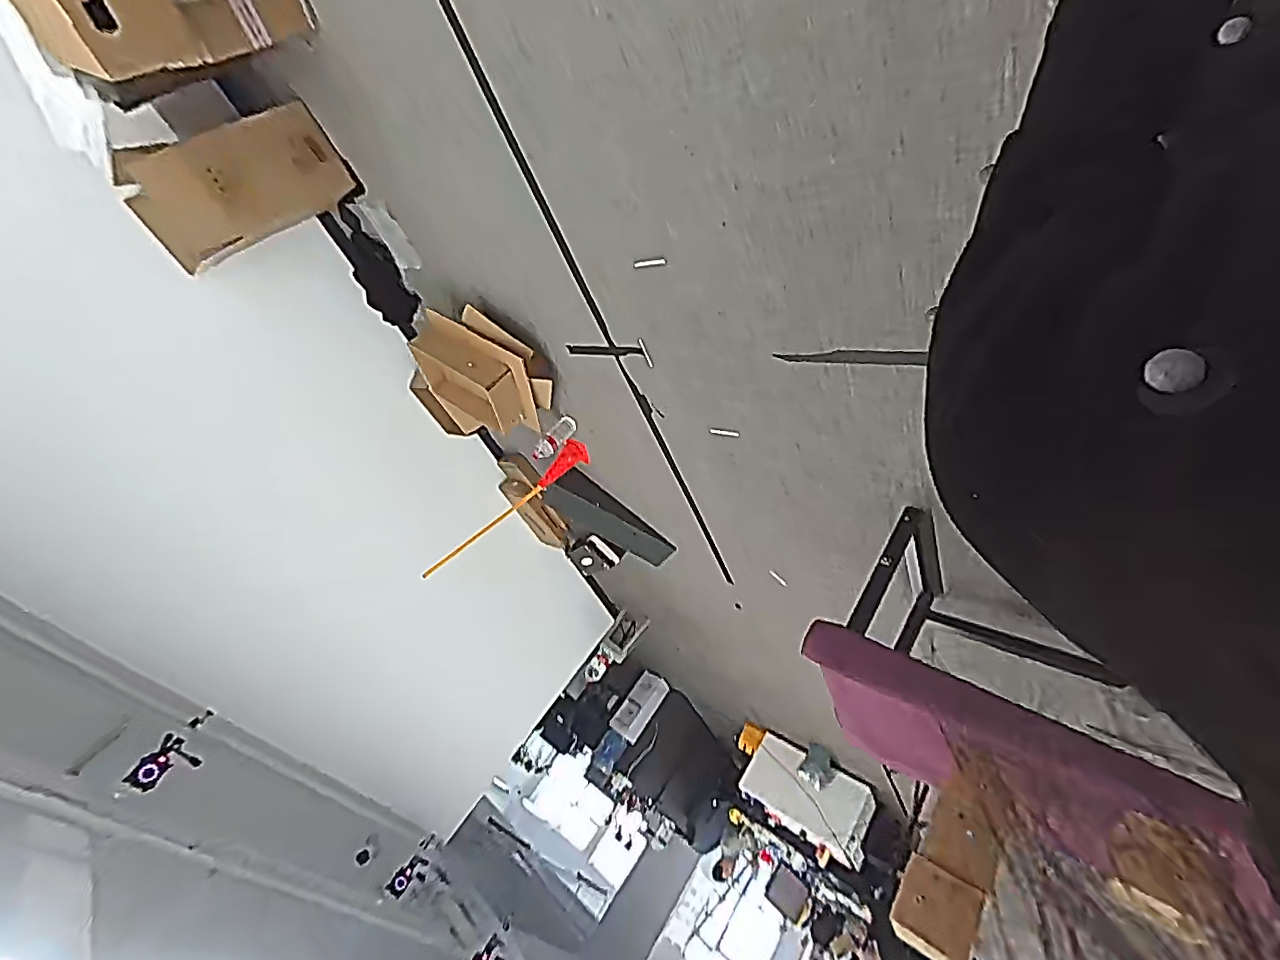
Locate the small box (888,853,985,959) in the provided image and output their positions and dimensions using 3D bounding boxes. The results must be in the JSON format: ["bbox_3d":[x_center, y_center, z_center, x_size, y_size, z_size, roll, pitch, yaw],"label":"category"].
[{"bbox_3d":[0.733,1.066,1.333,0.168,0.176,0.179,14,144,43],"label":"small box"}]

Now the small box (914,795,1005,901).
[{"bbox_3d":[0.837,0.971,1.417,0.168,0.176,0.179,15,144,40],"label":"small box"}]

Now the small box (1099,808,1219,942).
[{"bbox_3d":[1.169,0.883,1.222,0.168,0.176,0.179,15,145,41],"label":"small box"}]

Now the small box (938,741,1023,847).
[{"bbox_3d":[0.932,0.856,1.486,0.168,0.176,0.179,16,145,40],"label":"small box"}]
